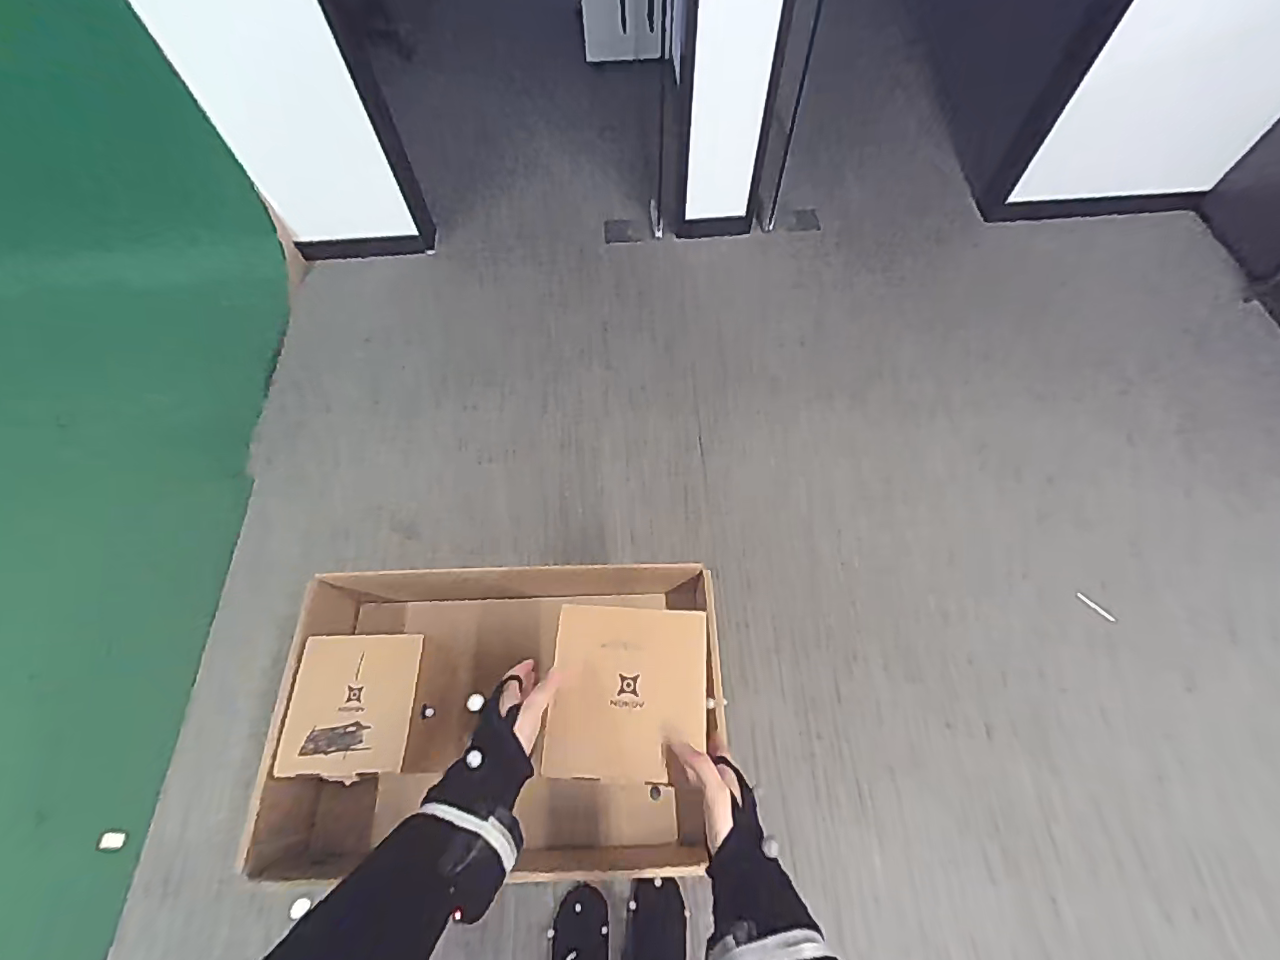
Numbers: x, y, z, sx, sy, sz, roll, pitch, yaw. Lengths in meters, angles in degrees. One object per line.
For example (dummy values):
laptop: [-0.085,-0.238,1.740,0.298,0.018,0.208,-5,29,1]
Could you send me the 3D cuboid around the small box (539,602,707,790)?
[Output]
small box: [-0.012,0.256,0.639,0.168,0.176,0.179,4,62,2]
